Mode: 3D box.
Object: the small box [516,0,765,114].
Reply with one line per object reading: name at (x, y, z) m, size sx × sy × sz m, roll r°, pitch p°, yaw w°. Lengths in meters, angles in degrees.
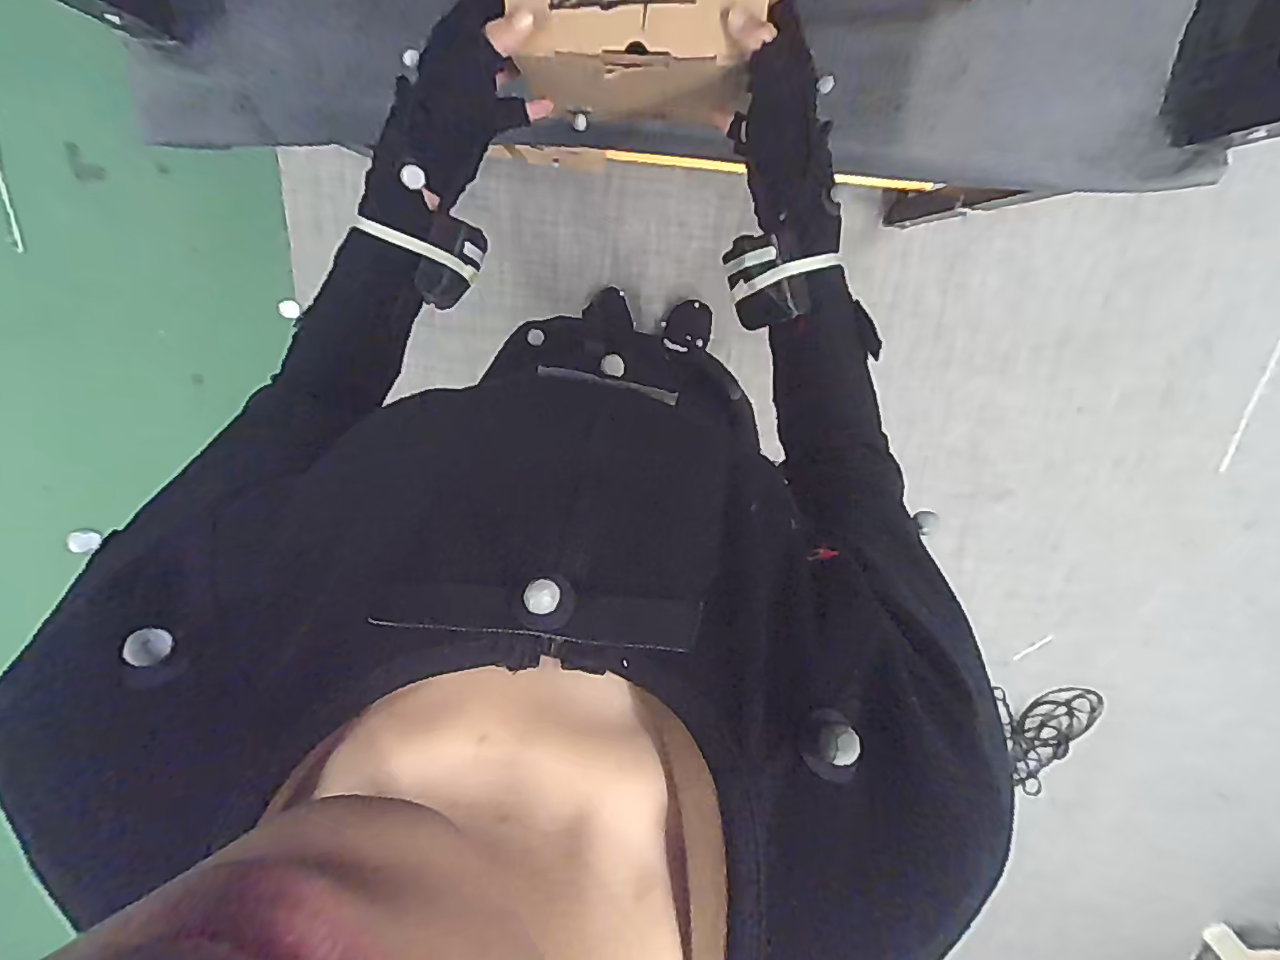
small box at (0.004, -0.392, 0.402) m, size 0.168 × 0.176 × 0.179 m, roll 1°, pitch 112°, yaw 0°
